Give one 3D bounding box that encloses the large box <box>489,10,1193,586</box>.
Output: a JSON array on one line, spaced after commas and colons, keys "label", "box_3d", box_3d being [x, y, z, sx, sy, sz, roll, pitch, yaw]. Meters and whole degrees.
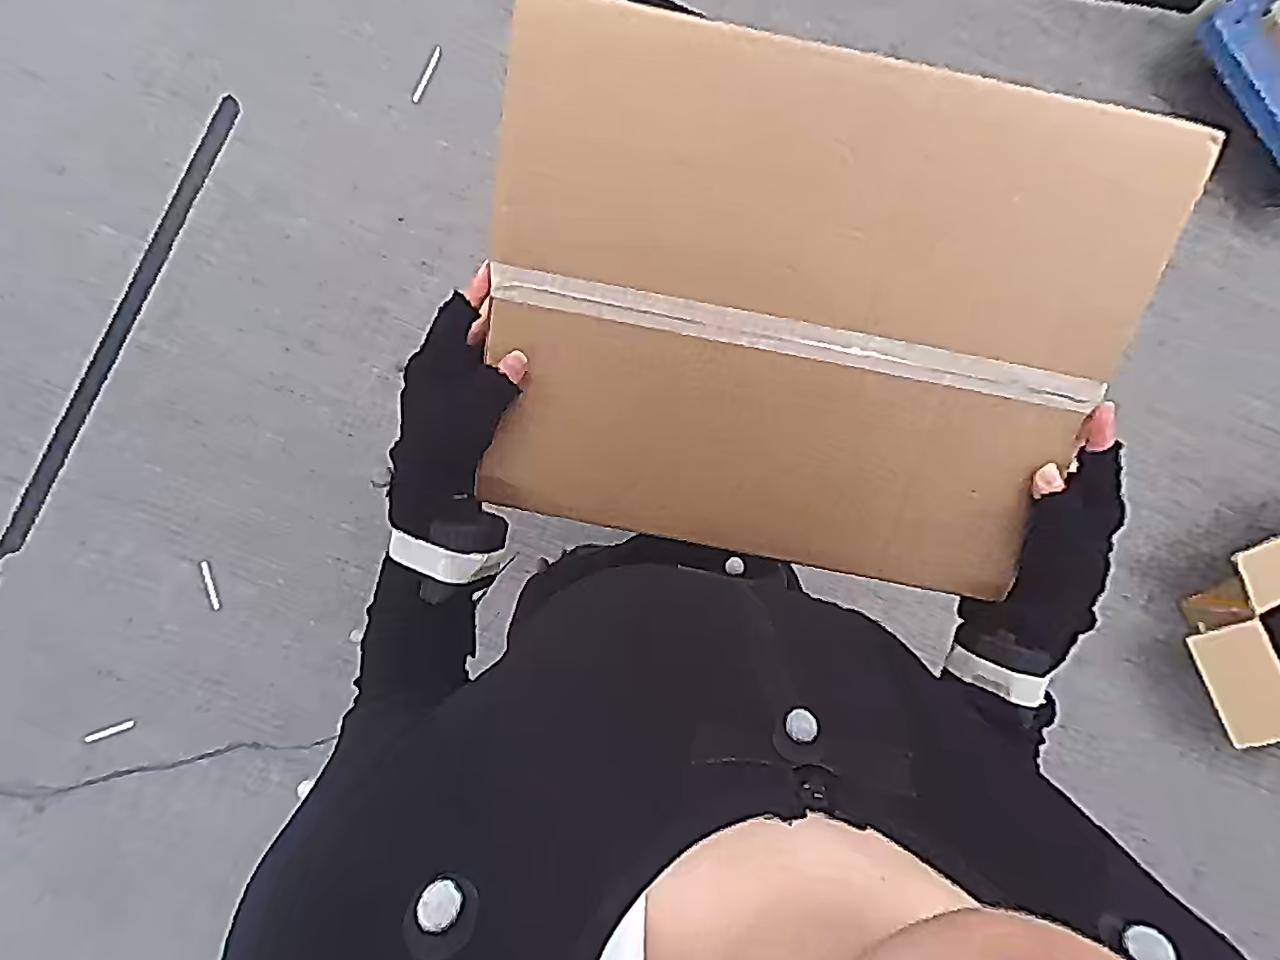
[{"label": "large box", "box_3d": [0.110, -0.142, 0.503, 0.408, 0.320, 0.320, 12, 110, -1]}]
